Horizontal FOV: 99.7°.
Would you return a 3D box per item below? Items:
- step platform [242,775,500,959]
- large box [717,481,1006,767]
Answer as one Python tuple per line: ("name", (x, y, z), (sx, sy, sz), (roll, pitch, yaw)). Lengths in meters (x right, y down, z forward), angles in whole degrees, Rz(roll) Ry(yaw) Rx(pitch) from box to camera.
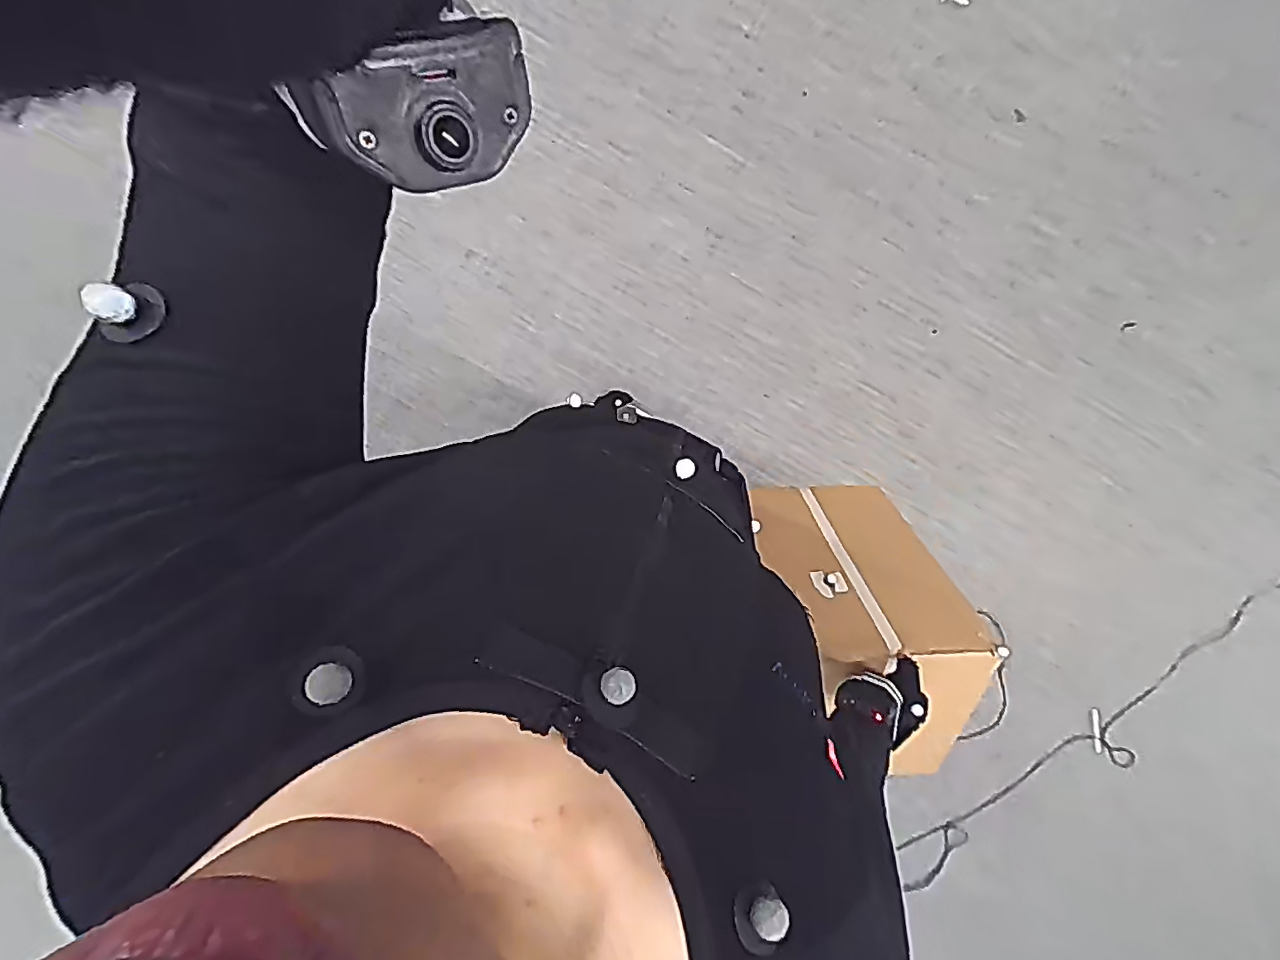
("step platform", (-0.779, 1.168, 1.594), (0.684, 0.204, 0.286), (26, 99, -2))
("large box", (0.339, 0.241, 0.981), (0.320, 0.408, 0.320), (-2, 125, -3))
